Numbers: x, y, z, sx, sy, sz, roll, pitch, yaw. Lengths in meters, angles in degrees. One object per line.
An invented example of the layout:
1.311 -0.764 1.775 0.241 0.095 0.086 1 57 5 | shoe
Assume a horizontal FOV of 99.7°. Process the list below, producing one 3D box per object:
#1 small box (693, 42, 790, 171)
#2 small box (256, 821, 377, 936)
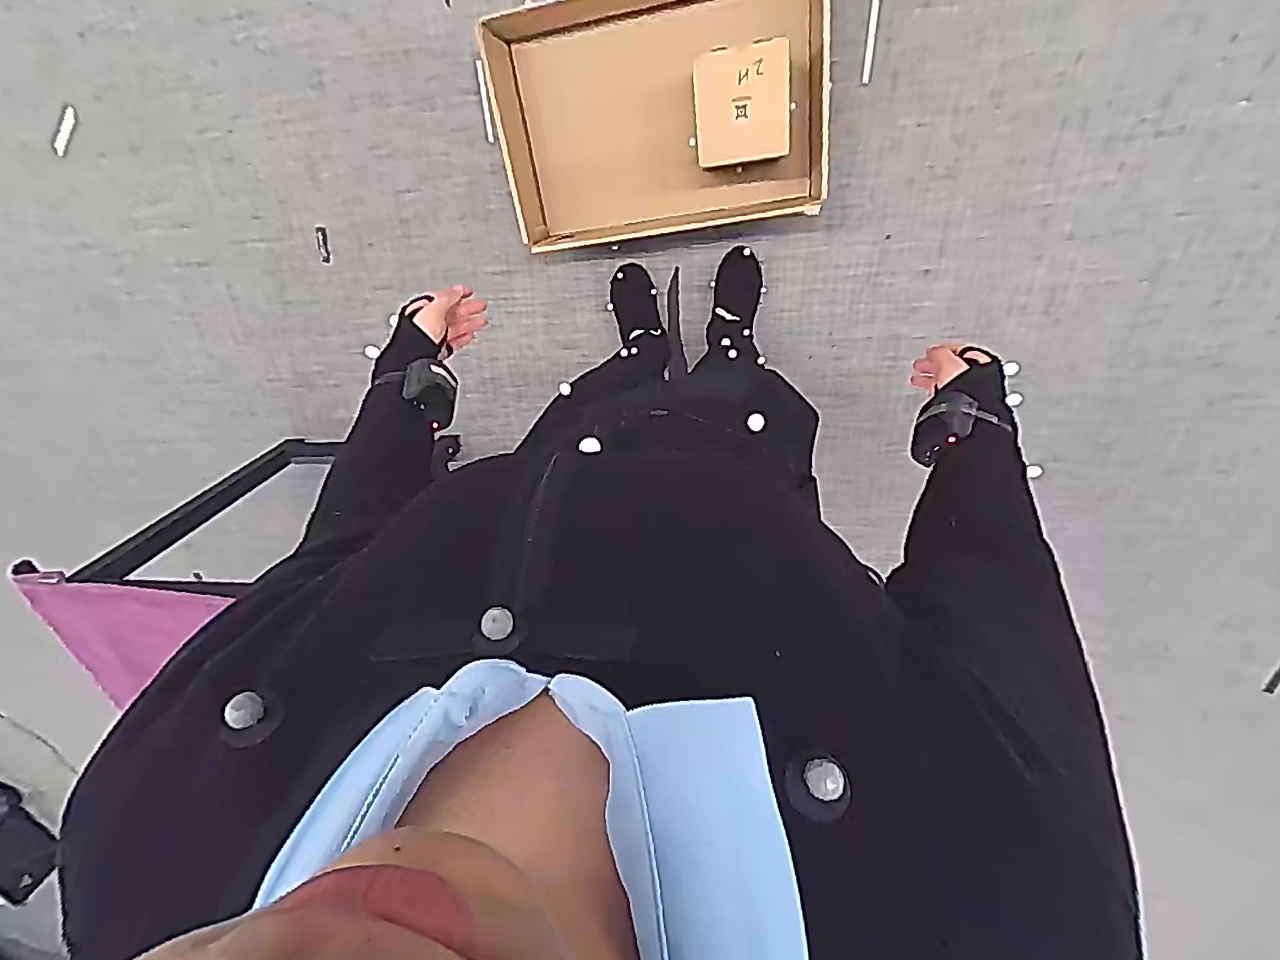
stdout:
0.193 -0.698 1.030 0.168 0.176 0.179 -3 118 9 | small box
-0.786 0.977 1.337 0.168 0.176 0.179 0 118 8 | small box
